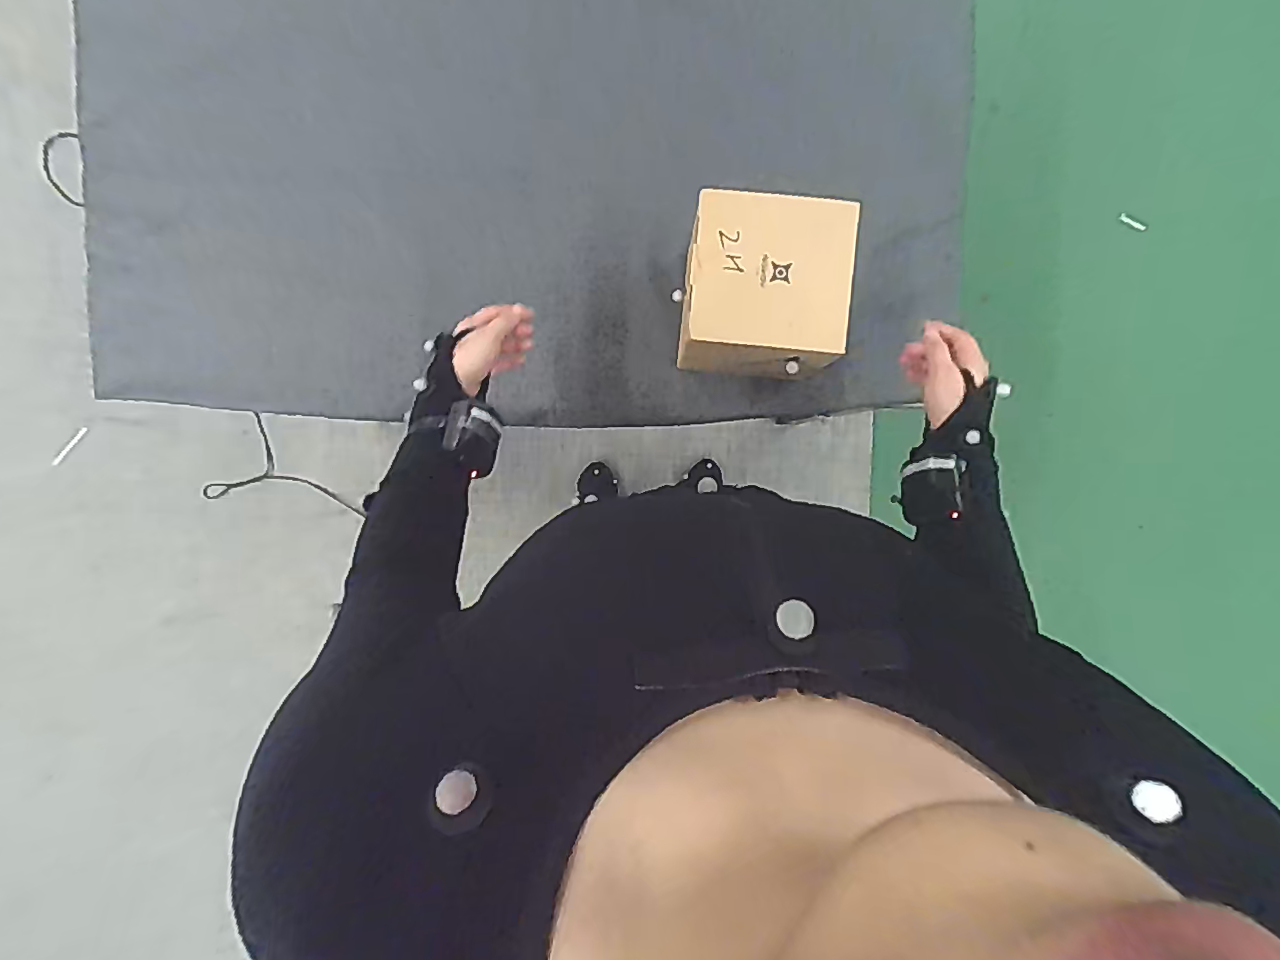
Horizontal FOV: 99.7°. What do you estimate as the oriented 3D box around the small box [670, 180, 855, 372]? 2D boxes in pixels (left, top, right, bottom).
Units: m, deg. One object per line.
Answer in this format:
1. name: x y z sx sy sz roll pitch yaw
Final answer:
1. small box: 0.134 -0.230 0.653 0.179 0.176 0.168 5 91 0
